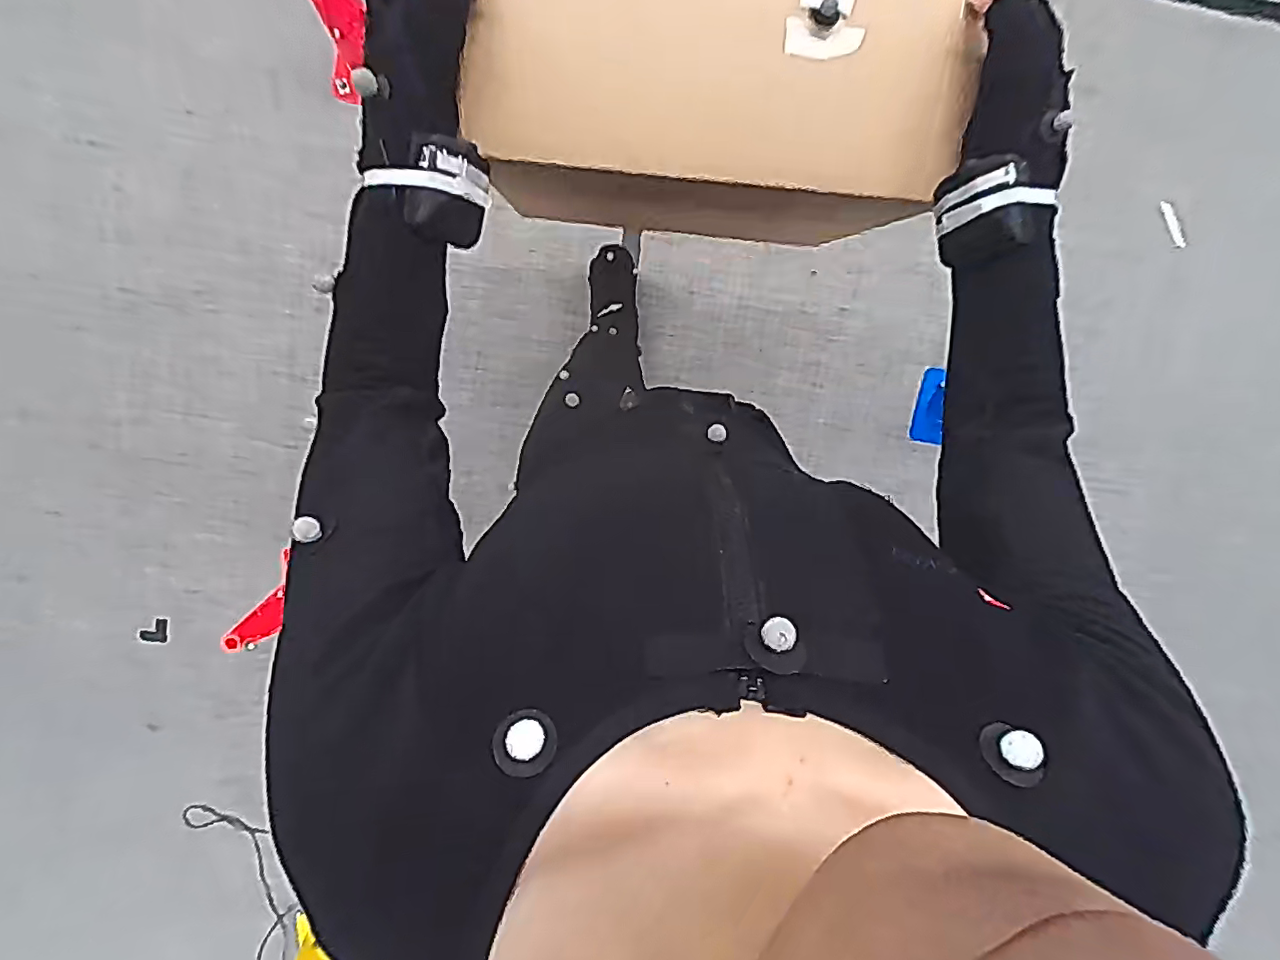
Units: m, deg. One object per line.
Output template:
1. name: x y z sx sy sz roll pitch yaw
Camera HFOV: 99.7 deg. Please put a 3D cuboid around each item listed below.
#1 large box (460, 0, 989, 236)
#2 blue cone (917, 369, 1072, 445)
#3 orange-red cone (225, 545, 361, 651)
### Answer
1. large box: 0.058 -0.439 0.529 0.408 0.320 0.320 3 108 -5
2. blue cone: 0.868 -0.170 1.314 0.192 0.380 0.193 11 99 -6
3. orange-red cone: -0.855 0.312 1.305 0.198 0.360 0.199 6 101 -3
